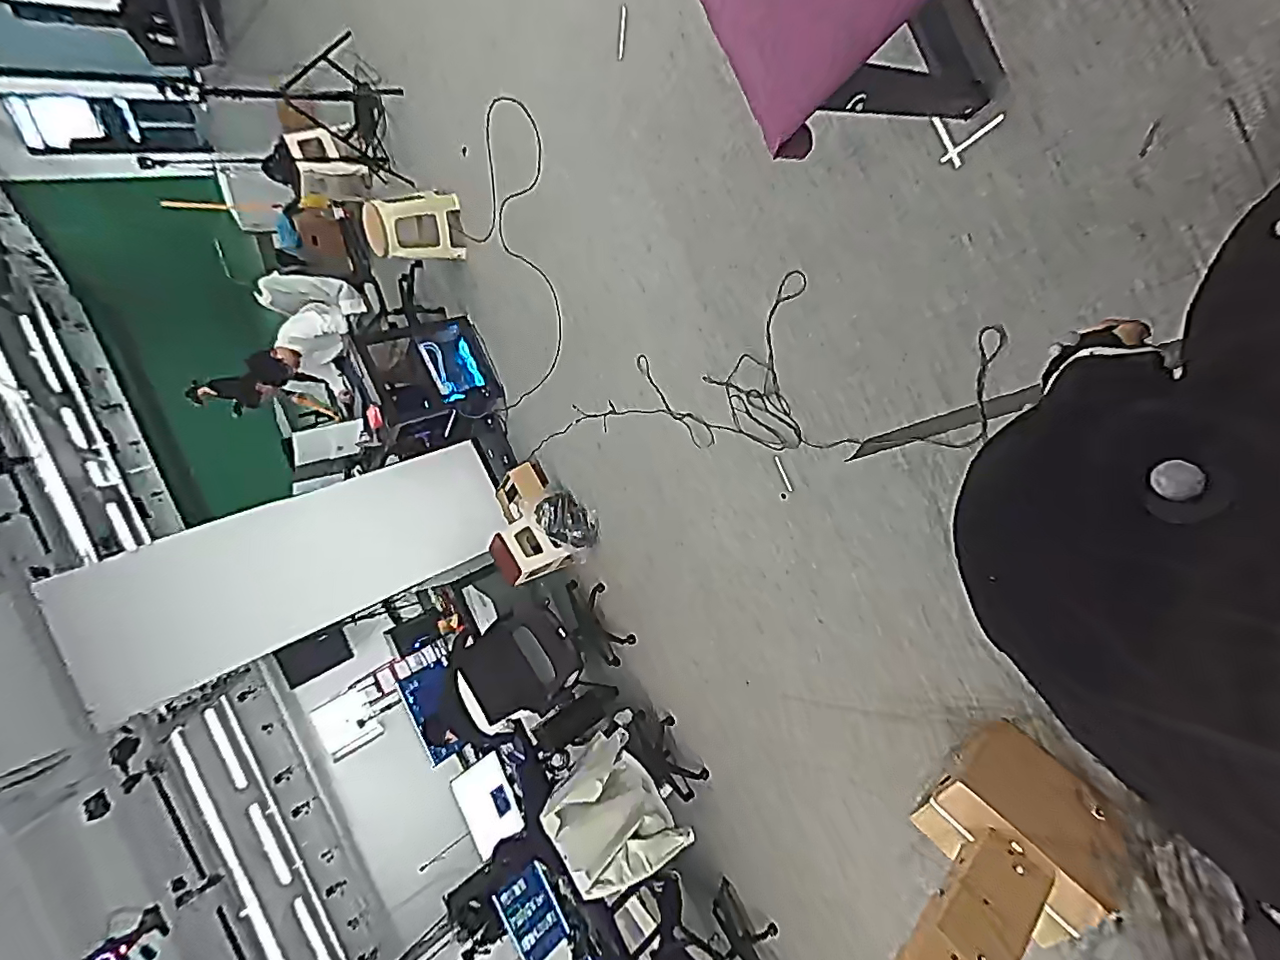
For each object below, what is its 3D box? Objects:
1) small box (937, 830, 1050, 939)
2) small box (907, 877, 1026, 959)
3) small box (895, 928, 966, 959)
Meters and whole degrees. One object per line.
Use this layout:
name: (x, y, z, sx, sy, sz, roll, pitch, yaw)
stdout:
small box: (0.931, 1.075, 1.423, 0.168, 0.176, 0.179, 40, 138, 33)
small box: (0.807, 1.135, 1.334, 0.168, 0.176, 0.179, 40, 139, 33)
small box: (0.681, 1.187, 1.244, 0.168, 0.176, 0.179, 40, 139, 33)
